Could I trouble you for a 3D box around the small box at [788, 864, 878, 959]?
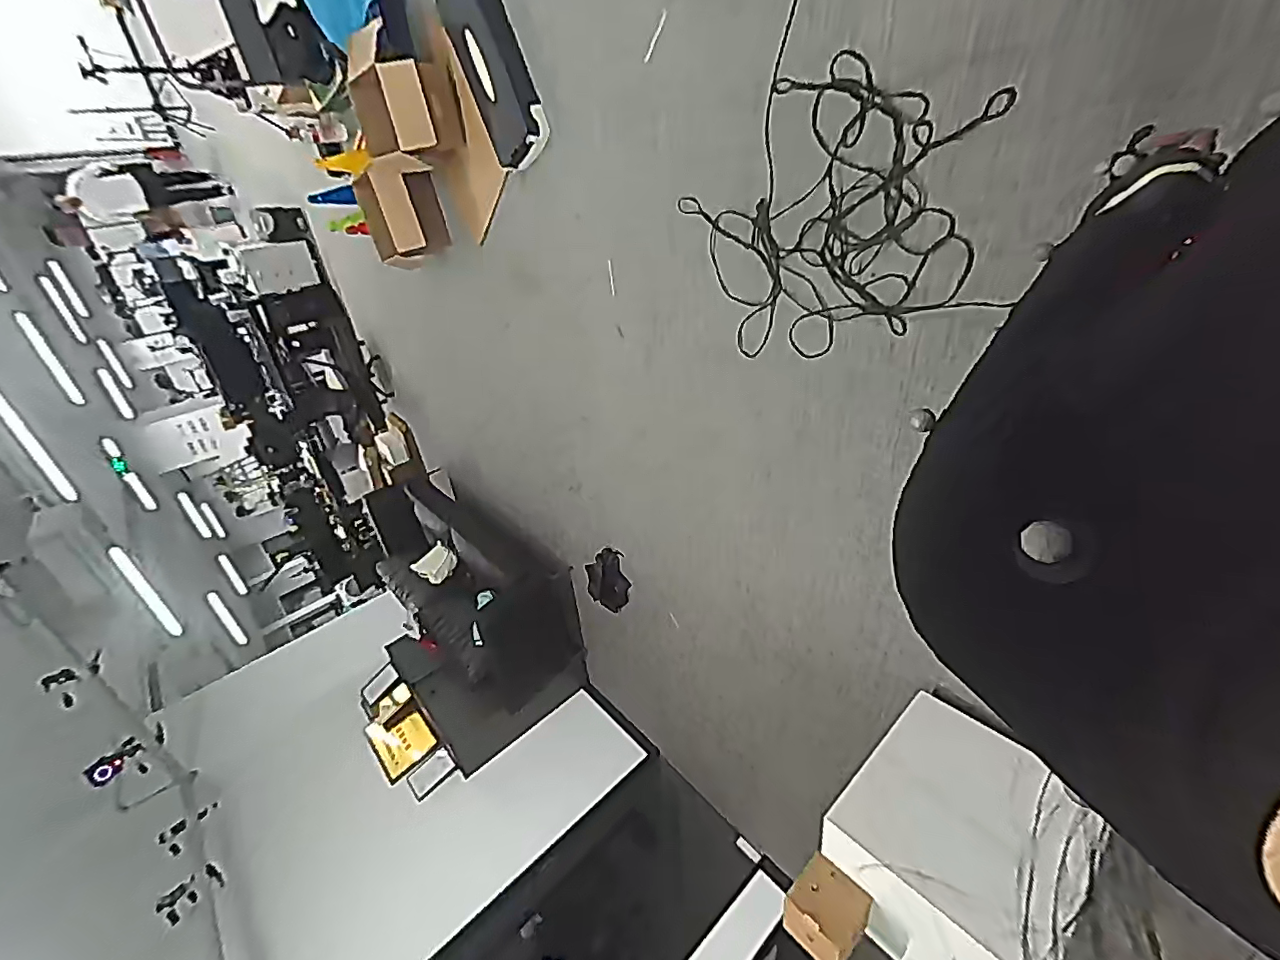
[{"bbox_3d":[0.521,1.196,1.460,0.168,0.176,0.179,24,133,44],"label":"small box"}]
